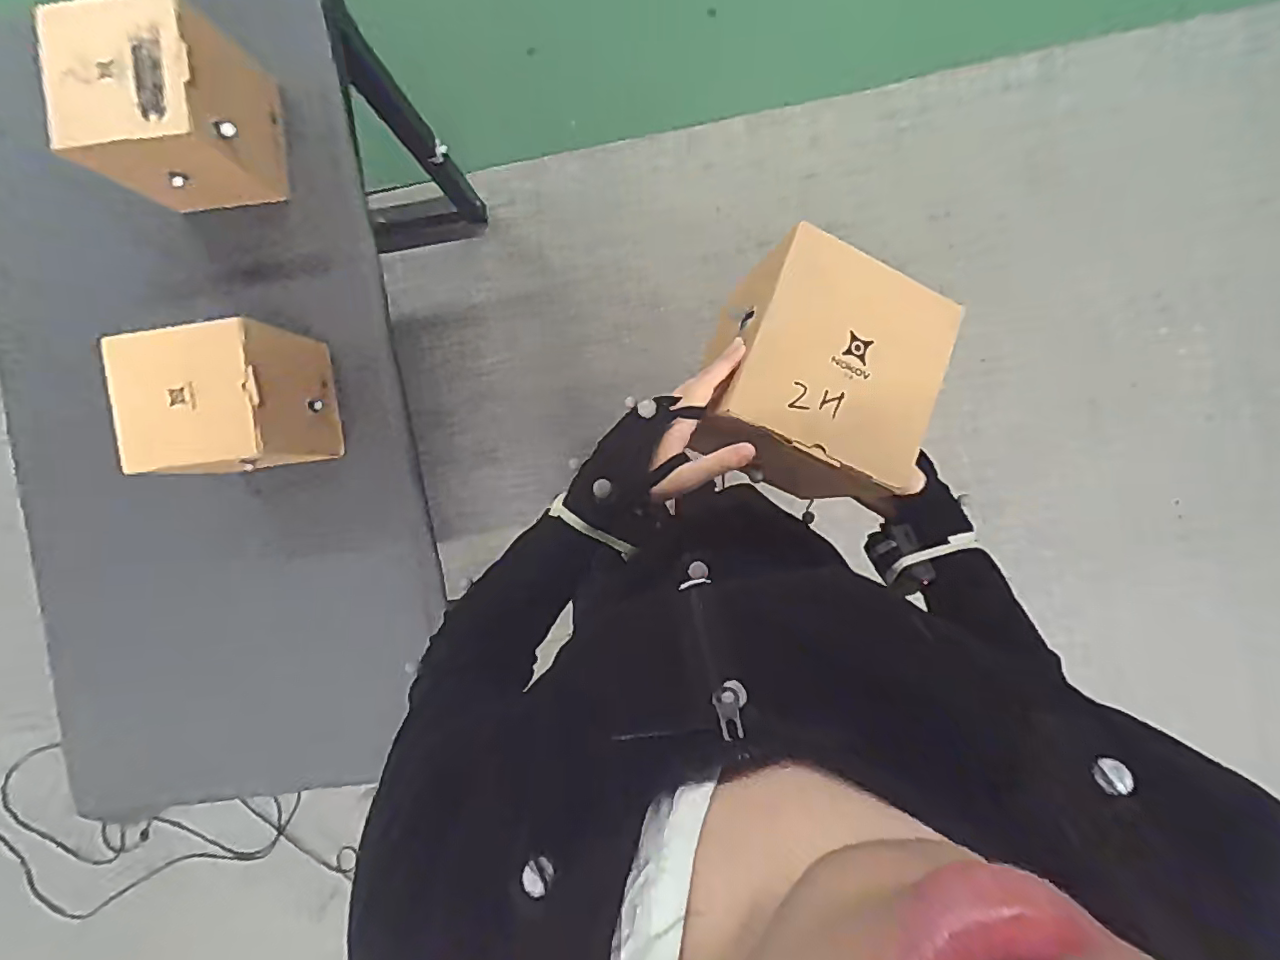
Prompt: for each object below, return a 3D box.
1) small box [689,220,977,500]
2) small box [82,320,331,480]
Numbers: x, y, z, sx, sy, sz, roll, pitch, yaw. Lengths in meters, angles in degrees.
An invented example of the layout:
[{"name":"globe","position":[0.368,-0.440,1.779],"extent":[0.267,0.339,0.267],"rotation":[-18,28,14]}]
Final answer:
[{"name":"small box","position":[0.163,-0.092,0.507],"extent":[0.168,0.176,0.179],"rotation":[24,82,-10]},{"name":"small box","position":[-0.539,-0.090,0.695],"extent":[0.179,0.176,0.168],"rotation":[-8,91,1]}]
